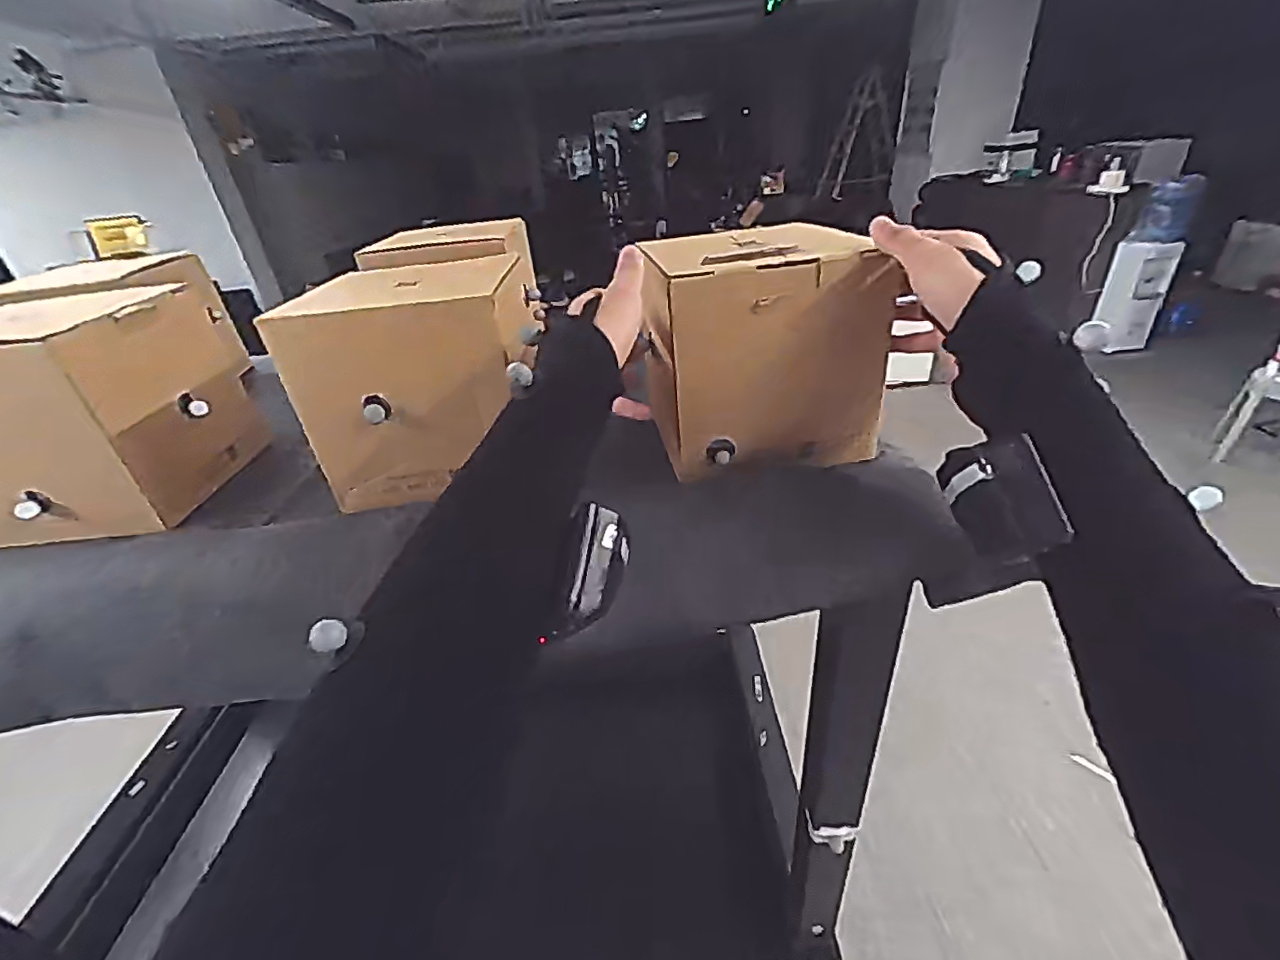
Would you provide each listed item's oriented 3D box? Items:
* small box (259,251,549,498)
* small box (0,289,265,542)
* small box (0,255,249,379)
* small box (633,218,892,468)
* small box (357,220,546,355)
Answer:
[{"bbox_3d":[-0.181,-0.094,0.486,0.168,0.176,0.179,-7,31,-1],"label":"small box"},{"bbox_3d":[-0.489,-0.061,0.485,0.179,0.176,0.168,-5,31,0],"label":"small box"},{"bbox_3d":[-0.665,-0.188,0.717,0.168,0.176,0.179,-10,32,-4],"label":"small box"},{"bbox_3d":[0.092,-0.119,0.474,0.168,0.176,0.179,-9,31,-3],"label":"small box"},{"bbox_3d":[-0.235,-0.241,0.728,0.179,0.176,0.168,-5,33,1],"label":"small box"}]
